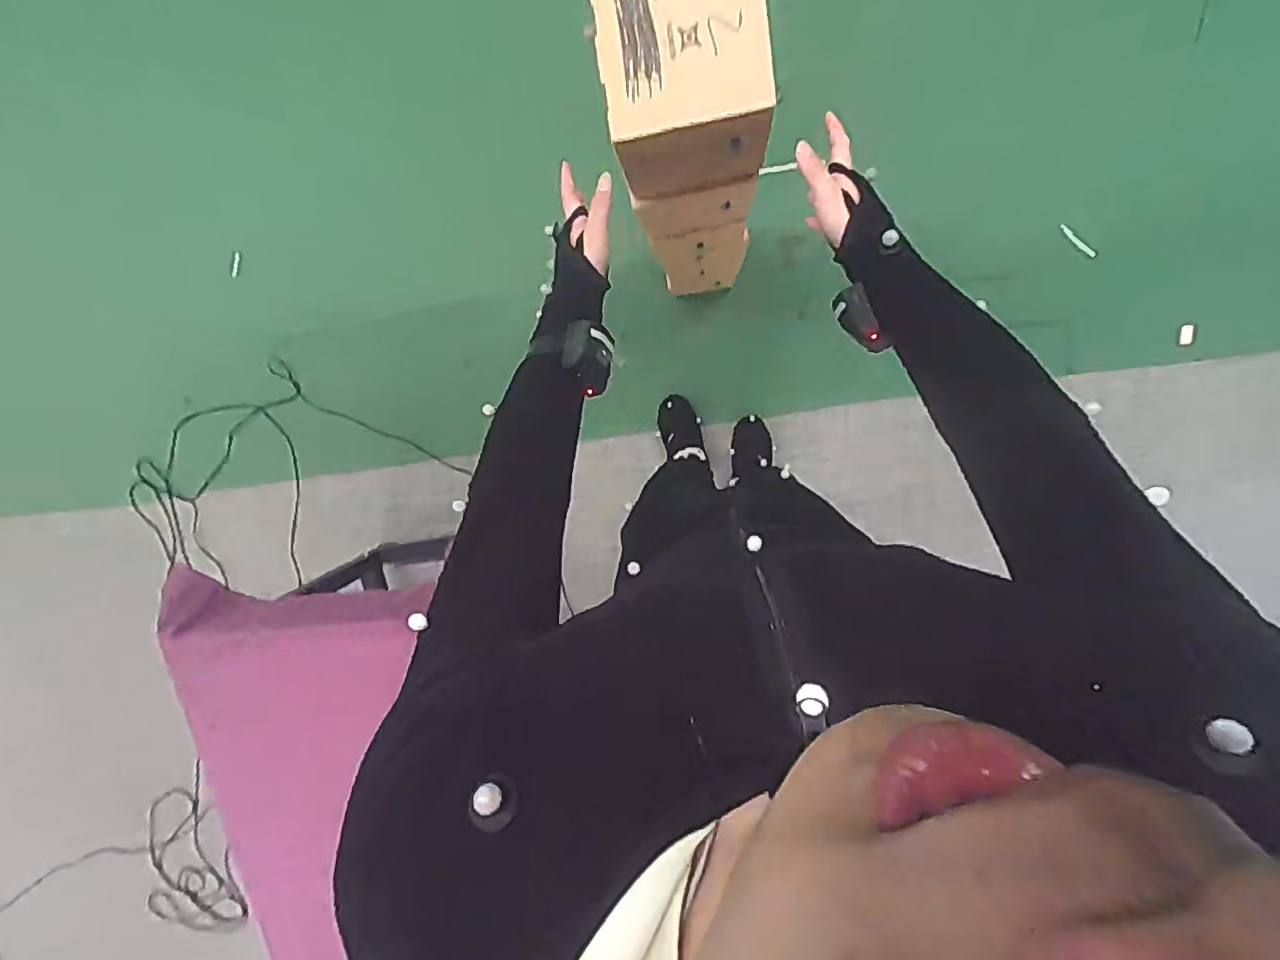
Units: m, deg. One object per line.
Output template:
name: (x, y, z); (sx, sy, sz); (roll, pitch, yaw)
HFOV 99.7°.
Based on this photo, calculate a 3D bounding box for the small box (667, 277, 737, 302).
small box: (0.157, -0.577, 1.429); (0.179, 0.176, 0.168); (-7, 99, 9)

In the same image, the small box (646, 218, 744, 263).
small box: (0.089, -0.494, 0.952); (0.168, 0.176, 0.179); (-9, 100, 9)

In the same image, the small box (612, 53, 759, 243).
small box: (0.070, -0.467, 0.791); (0.179, 0.176, 0.168); (-9, 98, 10)

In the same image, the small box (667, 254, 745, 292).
small box: (0.142, -0.551, 1.269); (0.179, 0.176, 0.168); (-10, 99, 10)

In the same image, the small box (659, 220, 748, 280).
small box: (0.118, -0.523, 1.110); (0.179, 0.176, 0.168); (-11, 99, 9)
